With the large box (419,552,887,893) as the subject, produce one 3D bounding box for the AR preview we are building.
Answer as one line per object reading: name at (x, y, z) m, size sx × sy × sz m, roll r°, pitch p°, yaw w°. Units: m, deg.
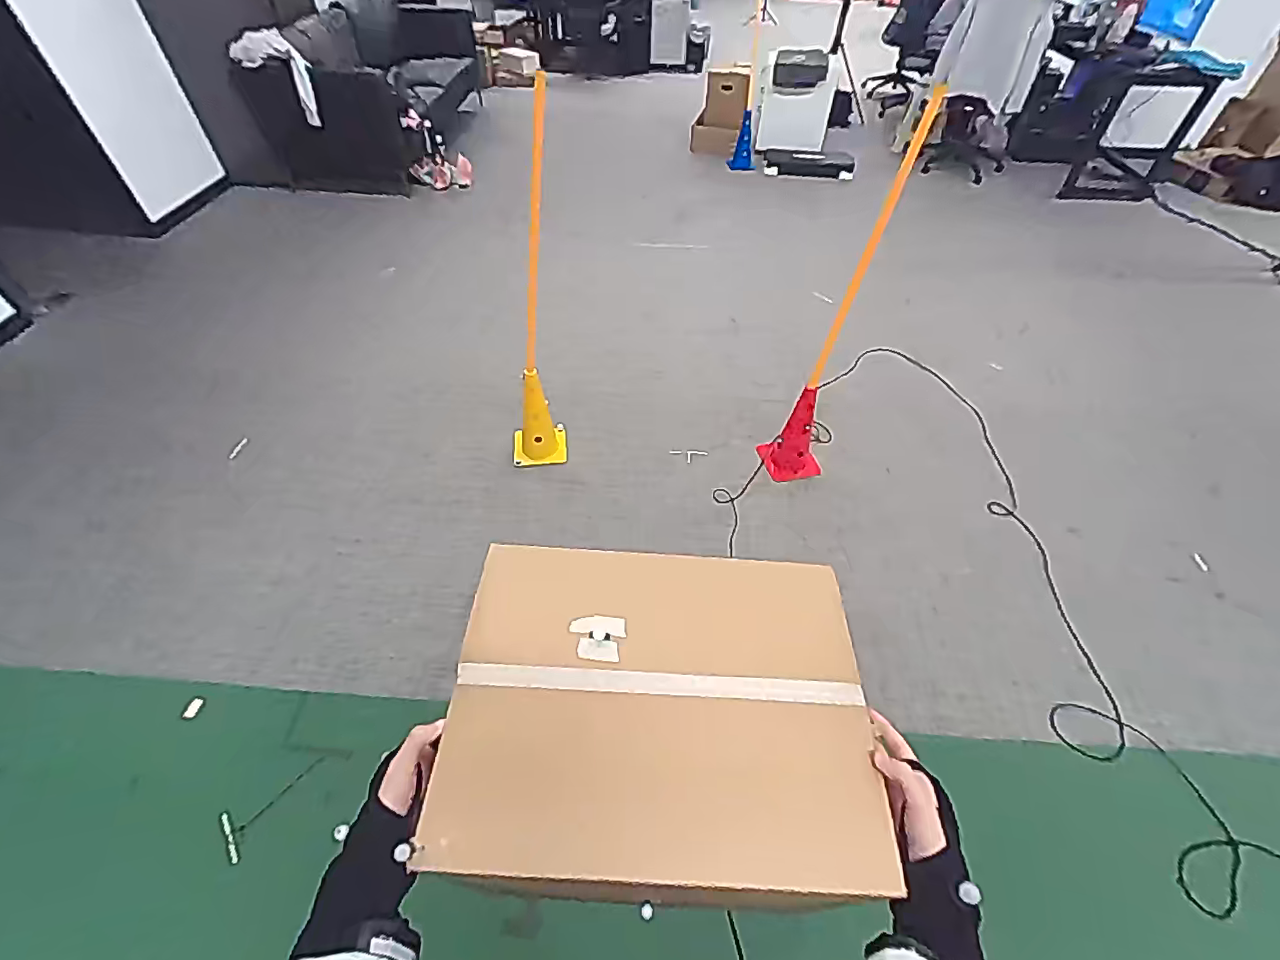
large box at (0.013, 0.305, 0.661) m, size 0.408 × 0.320 × 0.320 m, roll 3°, pitch 50°, yaw 0°
